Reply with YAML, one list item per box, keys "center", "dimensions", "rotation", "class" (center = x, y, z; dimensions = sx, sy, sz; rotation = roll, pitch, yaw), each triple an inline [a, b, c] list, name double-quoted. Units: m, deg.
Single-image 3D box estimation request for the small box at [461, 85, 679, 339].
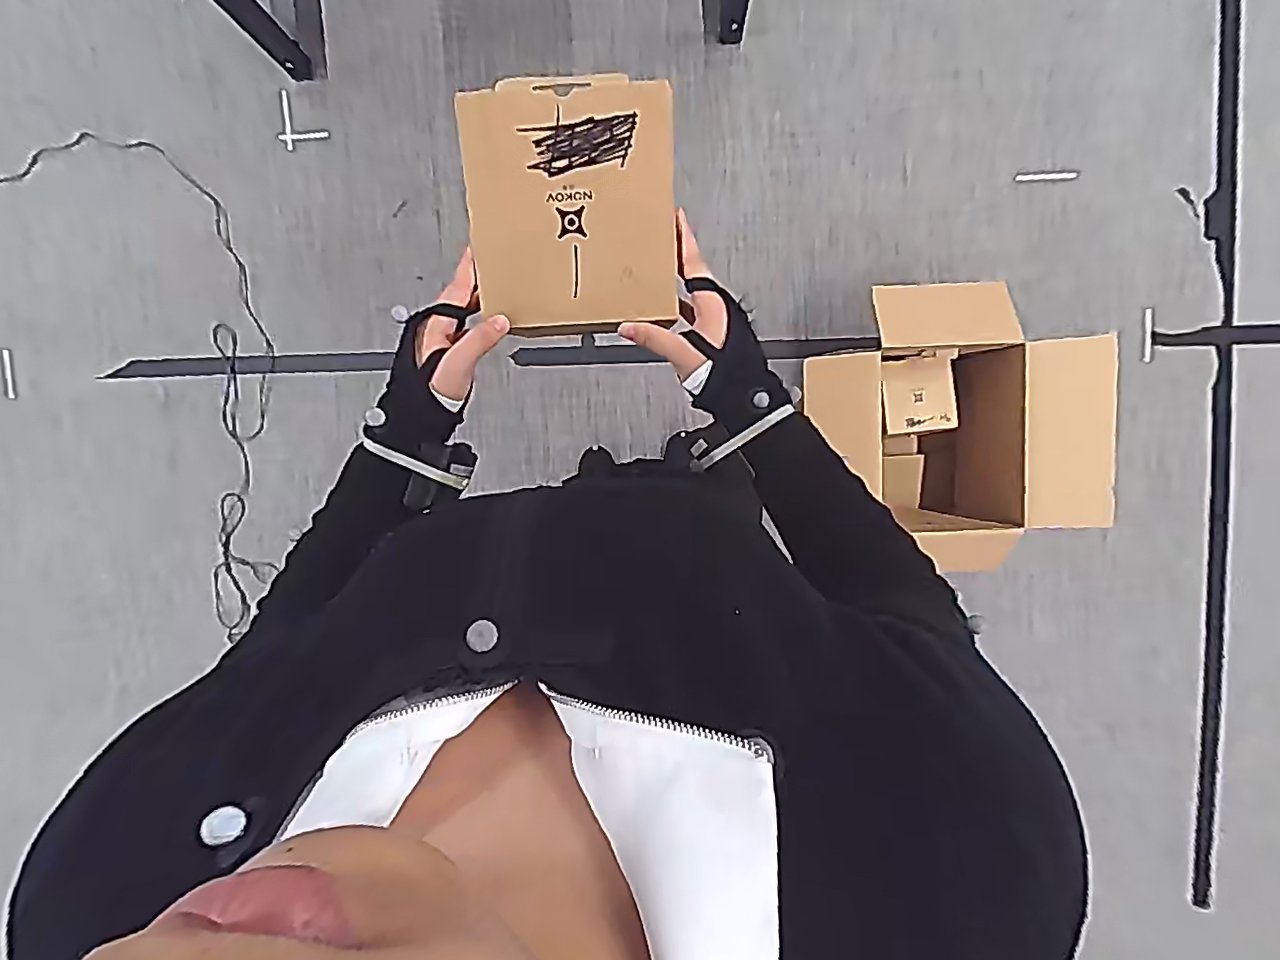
- center: [-0.053, -0.229, 0.506]
  dimensions: [0.168, 0.176, 0.179]
  rotation: [-3, 103, 1]
  class: "small box"
